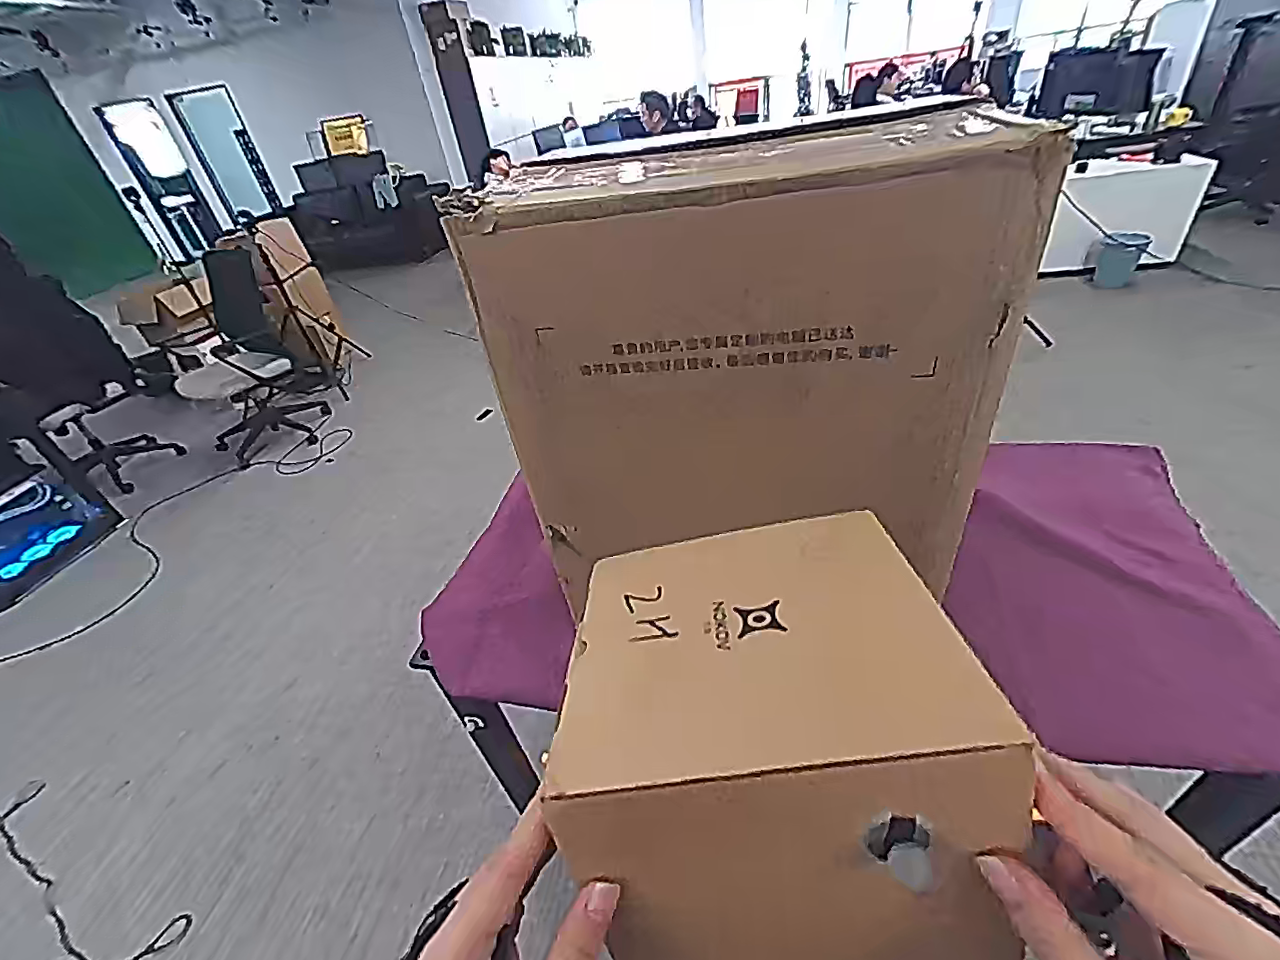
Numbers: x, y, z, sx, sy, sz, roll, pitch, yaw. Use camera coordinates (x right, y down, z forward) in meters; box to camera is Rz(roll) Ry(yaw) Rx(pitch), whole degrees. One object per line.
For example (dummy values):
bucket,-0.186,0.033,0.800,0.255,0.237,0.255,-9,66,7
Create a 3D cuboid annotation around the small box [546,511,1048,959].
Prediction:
small box,0.073,0.141,0.289,0.179,0.176,0.168,-12,22,9
